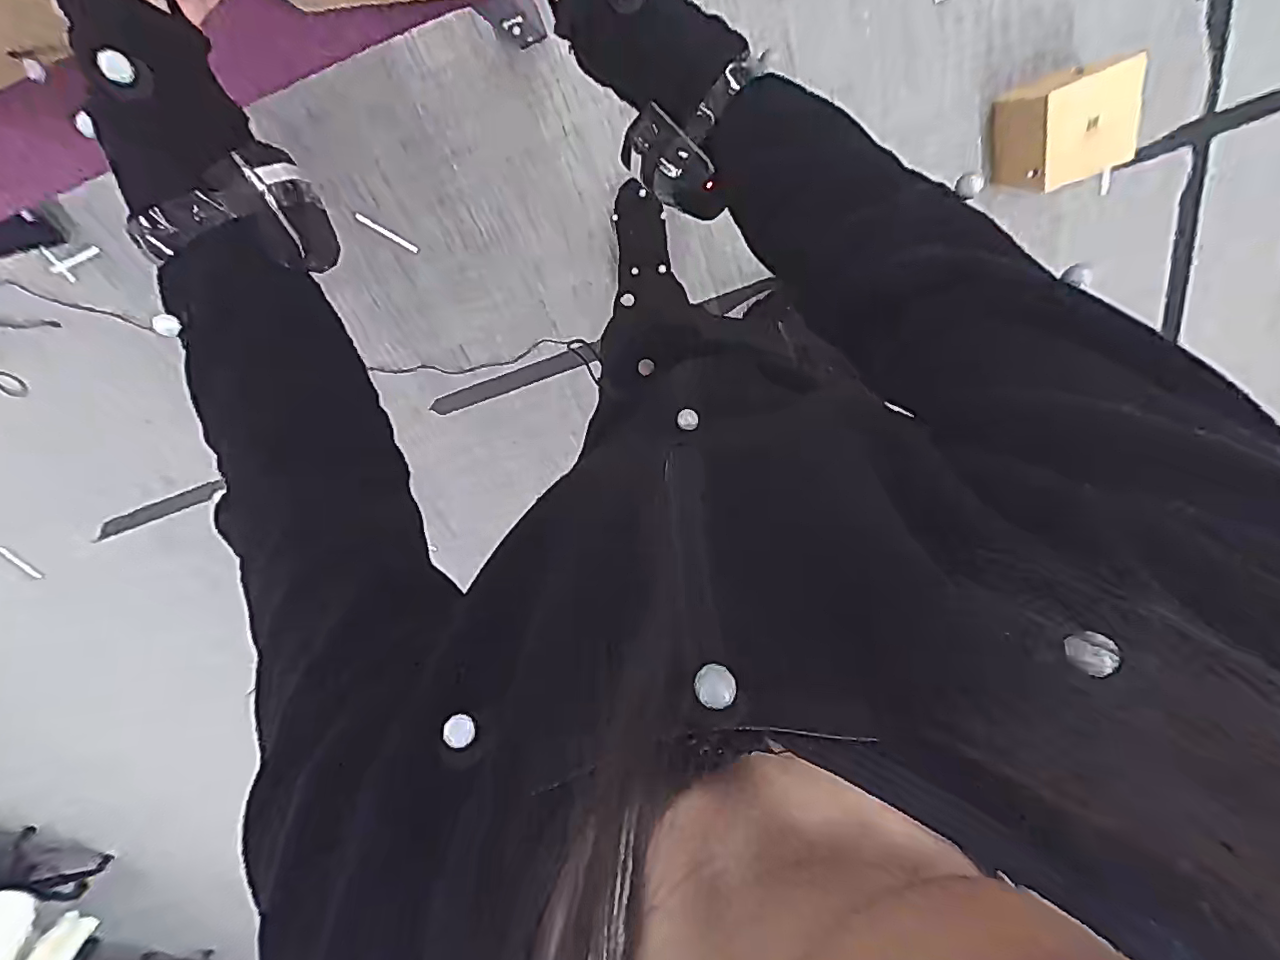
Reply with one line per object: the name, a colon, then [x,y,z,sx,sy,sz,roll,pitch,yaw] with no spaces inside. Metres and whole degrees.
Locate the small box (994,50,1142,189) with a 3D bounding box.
small box: [0.833,-0.707,1.072,0.168,0.176,0.179,-20,123,10]

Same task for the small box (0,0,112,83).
small box: [-0.506,-0.371,0.341,0.179,0.176,0.168,-17,124,8]
